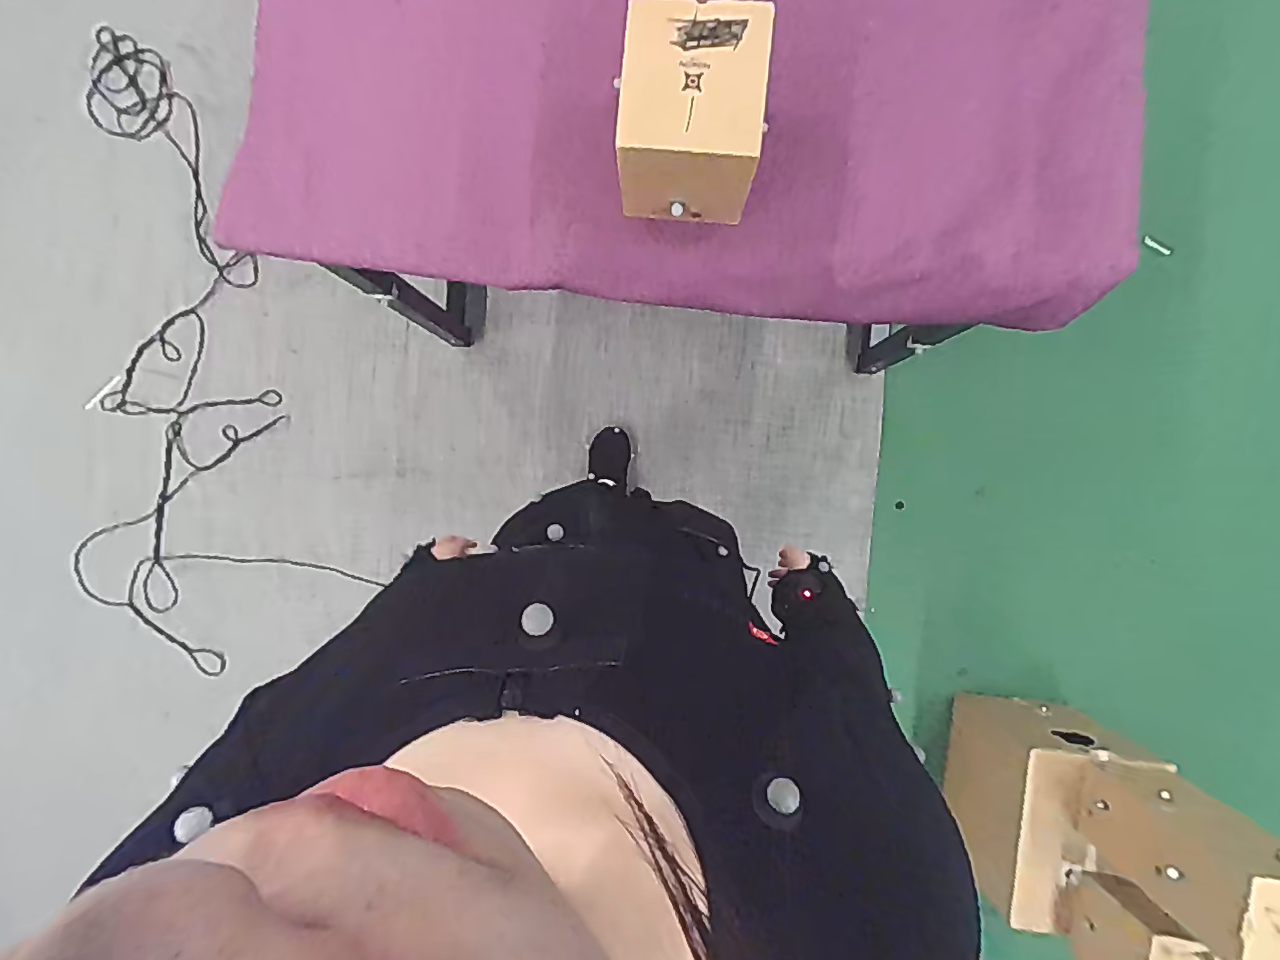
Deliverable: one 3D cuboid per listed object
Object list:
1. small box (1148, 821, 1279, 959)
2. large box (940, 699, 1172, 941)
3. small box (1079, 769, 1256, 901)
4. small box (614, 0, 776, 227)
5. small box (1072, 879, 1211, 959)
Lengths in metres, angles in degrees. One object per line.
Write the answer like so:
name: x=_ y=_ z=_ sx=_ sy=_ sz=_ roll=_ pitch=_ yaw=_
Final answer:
small box: x=1.023 y=0.707 z=0.907 sx=0.179 sy=0.176 sz=0.168 roll=5 pitch=91 yaw=2
large box: x=0.978 y=0.800 z=1.316 sx=0.320 sy=0.320 sz=0.408 roll=6 pitch=92 yaw=3
small box: x=1.031 y=0.702 z=1.071 sx=0.179 sy=0.176 sz=0.168 roll=6 pitch=91 yaw=2
small box: x=0.062 y=-0.447 z=0.677 sx=0.168 sy=0.176 sz=0.179 roll=6 pitch=91 yaw=2
small box: x=1.010 y=0.950 z=1.072 sx=0.168 sy=0.176 sz=0.179 roll=11 pitch=90 yaw=1
